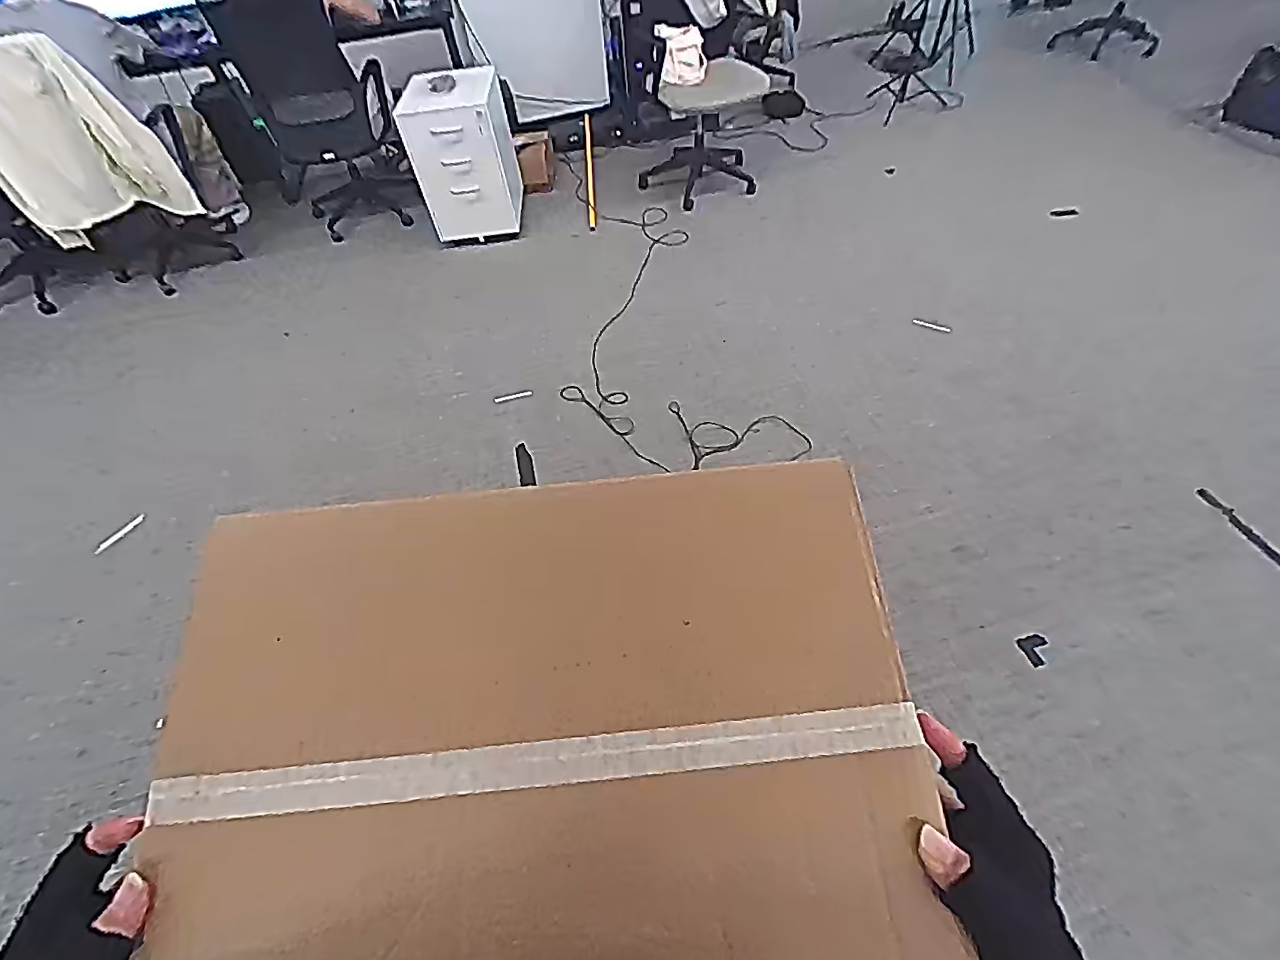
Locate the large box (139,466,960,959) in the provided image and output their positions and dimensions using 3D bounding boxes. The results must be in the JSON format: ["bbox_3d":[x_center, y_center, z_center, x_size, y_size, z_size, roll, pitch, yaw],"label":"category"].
[{"bbox_3d":[-0.049,0.208,0.432,0.408,0.320,0.320,-6,67,0],"label":"large box"}]
